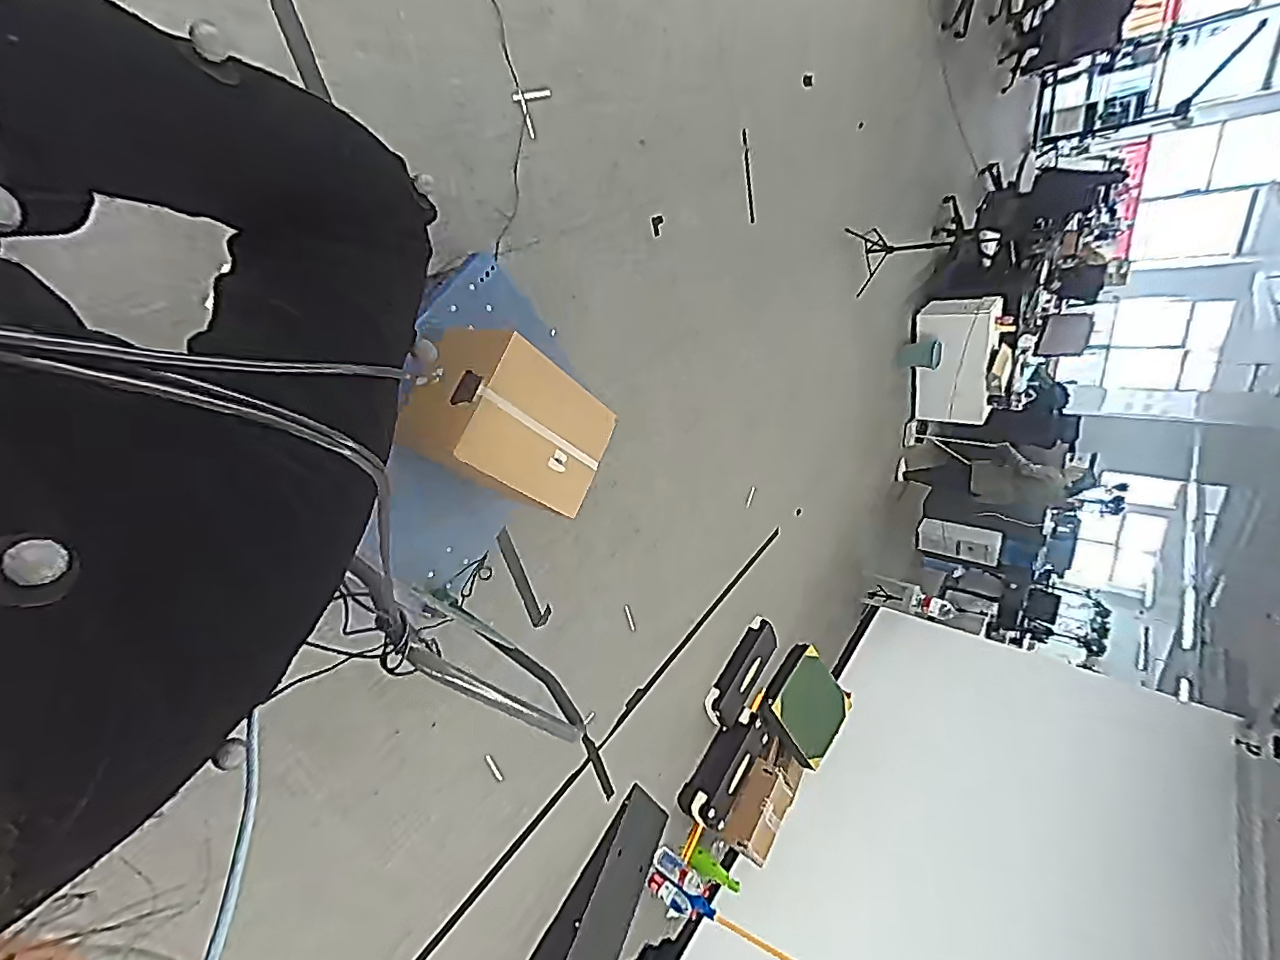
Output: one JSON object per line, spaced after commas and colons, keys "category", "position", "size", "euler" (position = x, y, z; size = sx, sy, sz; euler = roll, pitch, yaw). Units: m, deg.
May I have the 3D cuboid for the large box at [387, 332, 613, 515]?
{"category": "large box", "position": [-0.349, -0.143, 1.396], "size": [0.408, 0.320, 0.320], "euler": [36, 73, -48]}
